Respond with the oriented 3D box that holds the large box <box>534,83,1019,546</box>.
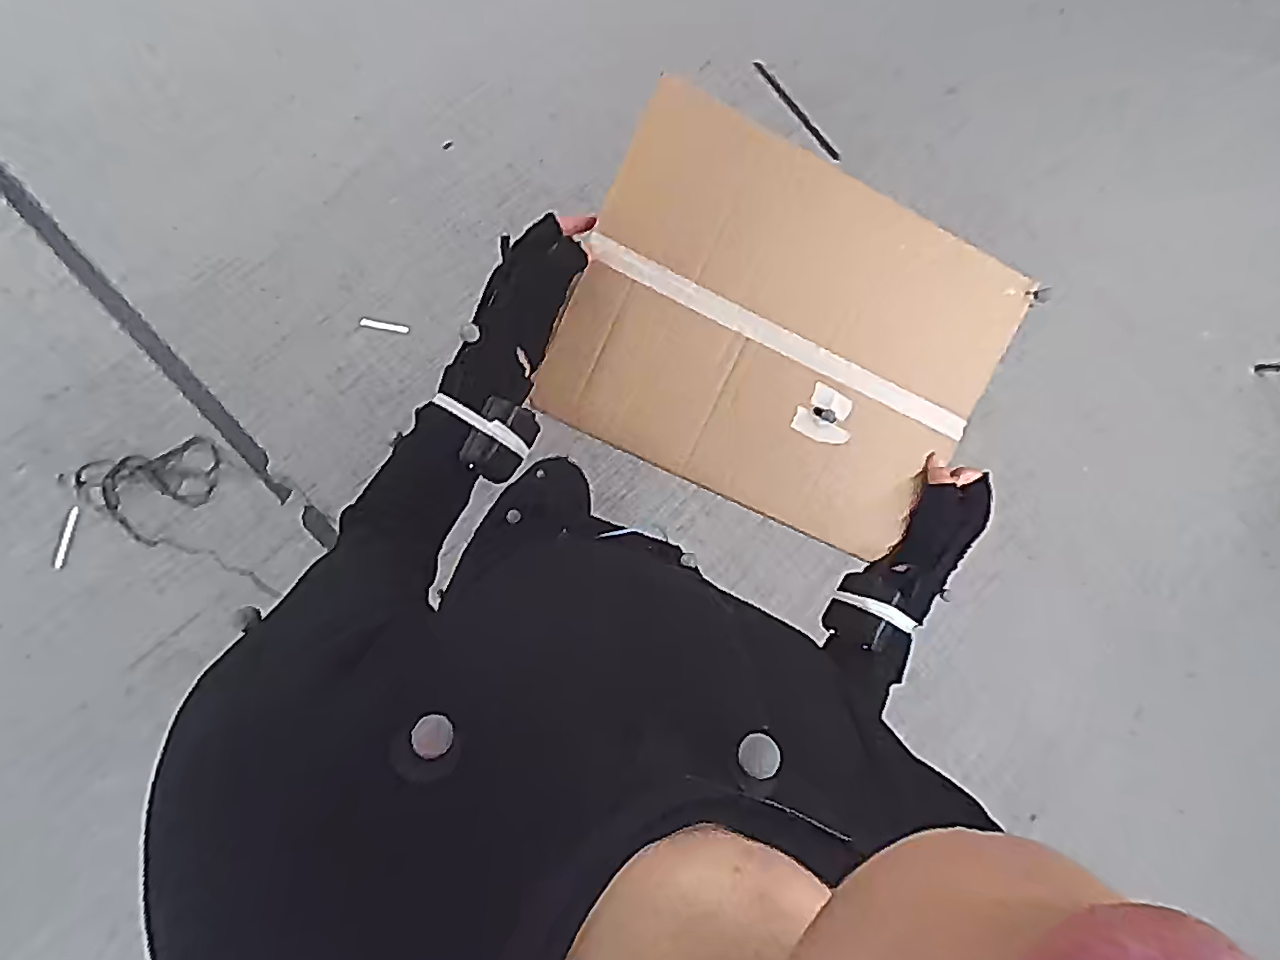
[{"bbox_3d":[0.123,-0.166,0.670,0.408,0.320,0.320,24,98,-9],"label":"large box"}]
